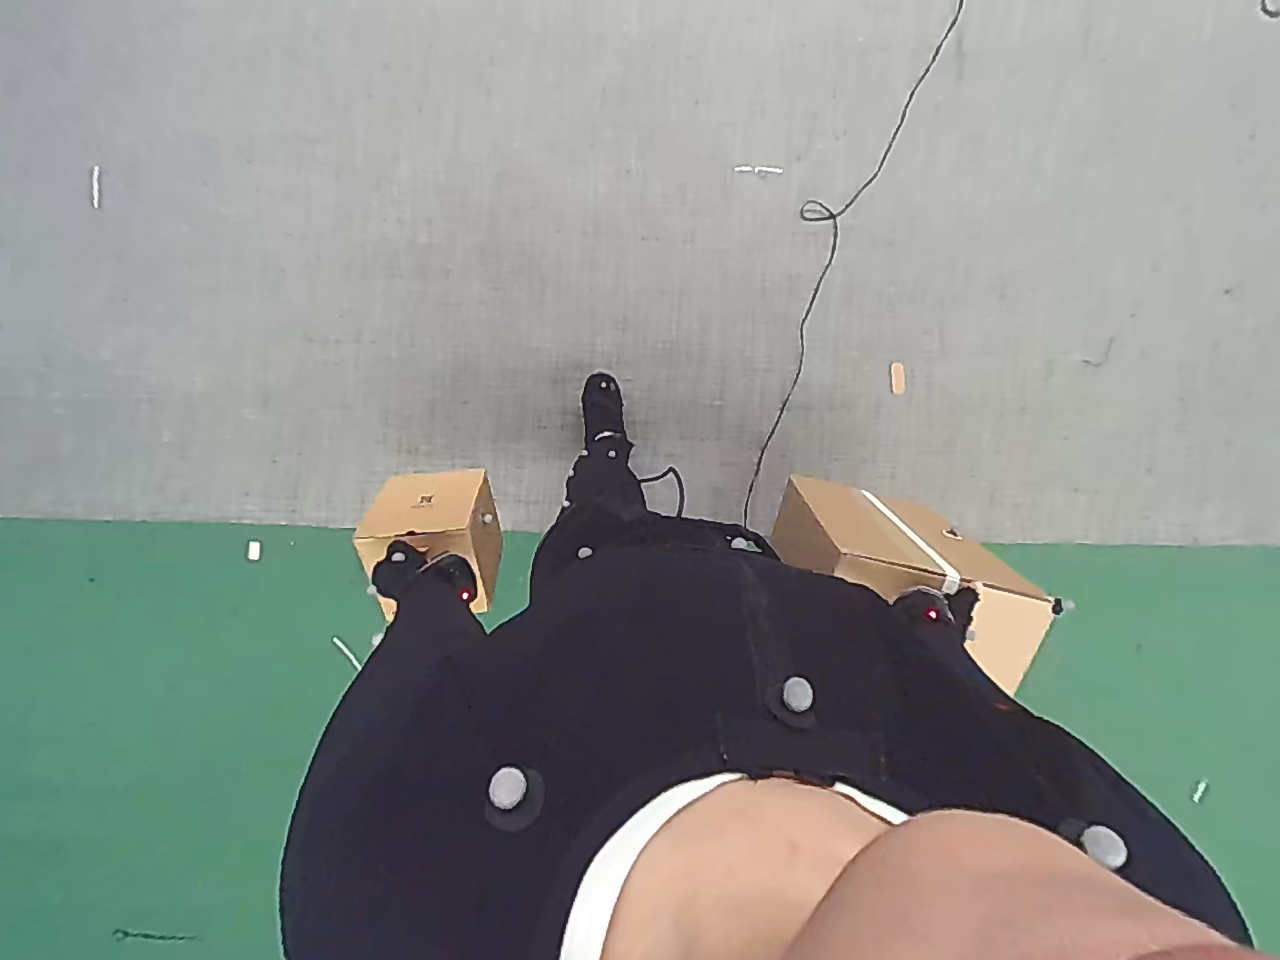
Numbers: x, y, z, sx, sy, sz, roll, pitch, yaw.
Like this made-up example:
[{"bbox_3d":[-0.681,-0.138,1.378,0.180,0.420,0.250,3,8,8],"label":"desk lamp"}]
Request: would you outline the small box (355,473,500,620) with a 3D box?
[{"bbox_3d":[-0.337,0.107,0.897,0.168,0.179,0.176,-6,122,-3],"label":"small box"}]
